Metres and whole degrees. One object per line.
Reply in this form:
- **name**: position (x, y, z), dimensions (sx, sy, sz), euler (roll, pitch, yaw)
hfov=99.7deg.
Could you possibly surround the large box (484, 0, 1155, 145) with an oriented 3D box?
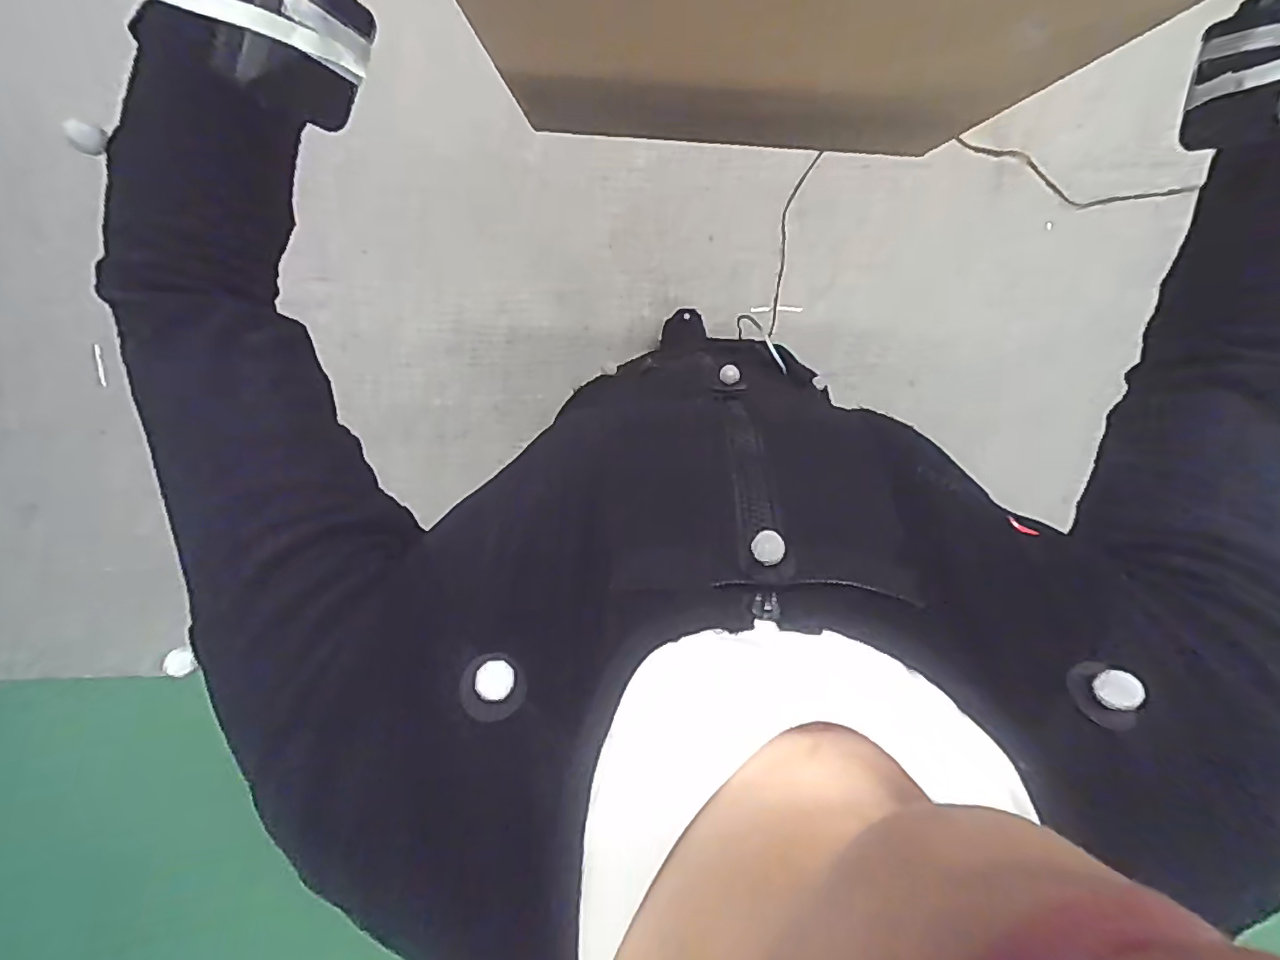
- **large box**: position (0.102, -0.453, 0.369), dimensions (0.408, 0.320, 0.320), euler (2, 108, -2)
